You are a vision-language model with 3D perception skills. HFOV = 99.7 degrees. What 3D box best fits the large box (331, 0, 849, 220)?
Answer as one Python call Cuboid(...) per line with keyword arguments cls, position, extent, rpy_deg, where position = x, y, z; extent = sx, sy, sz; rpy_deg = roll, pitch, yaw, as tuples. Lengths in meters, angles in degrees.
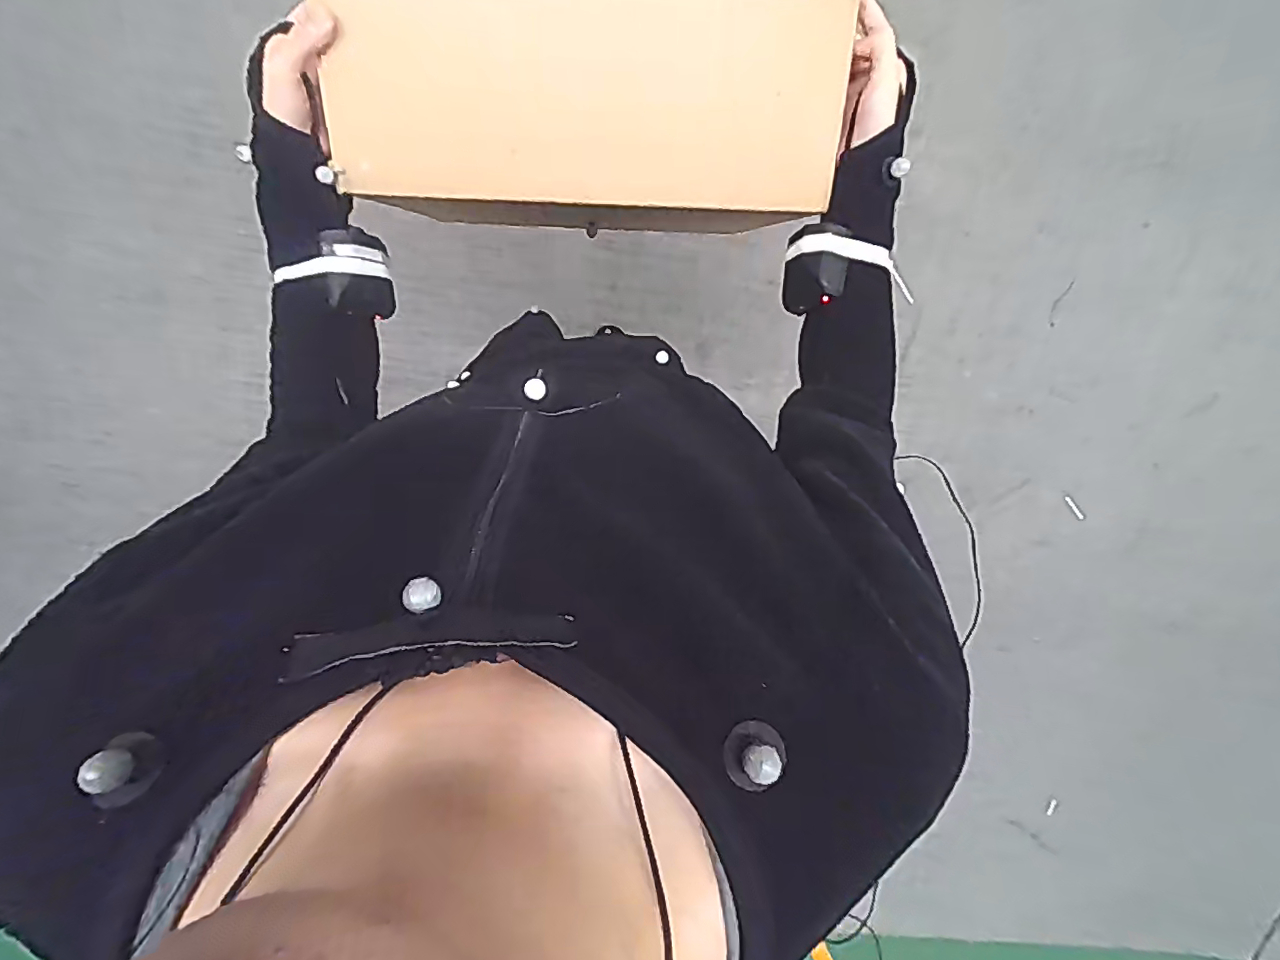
Cuboid(cls="large box", position=(-0.041, -0.441, 0.542), extent=(0.408, 0.320, 0.320), rpy_deg=(0, 111, -5))
